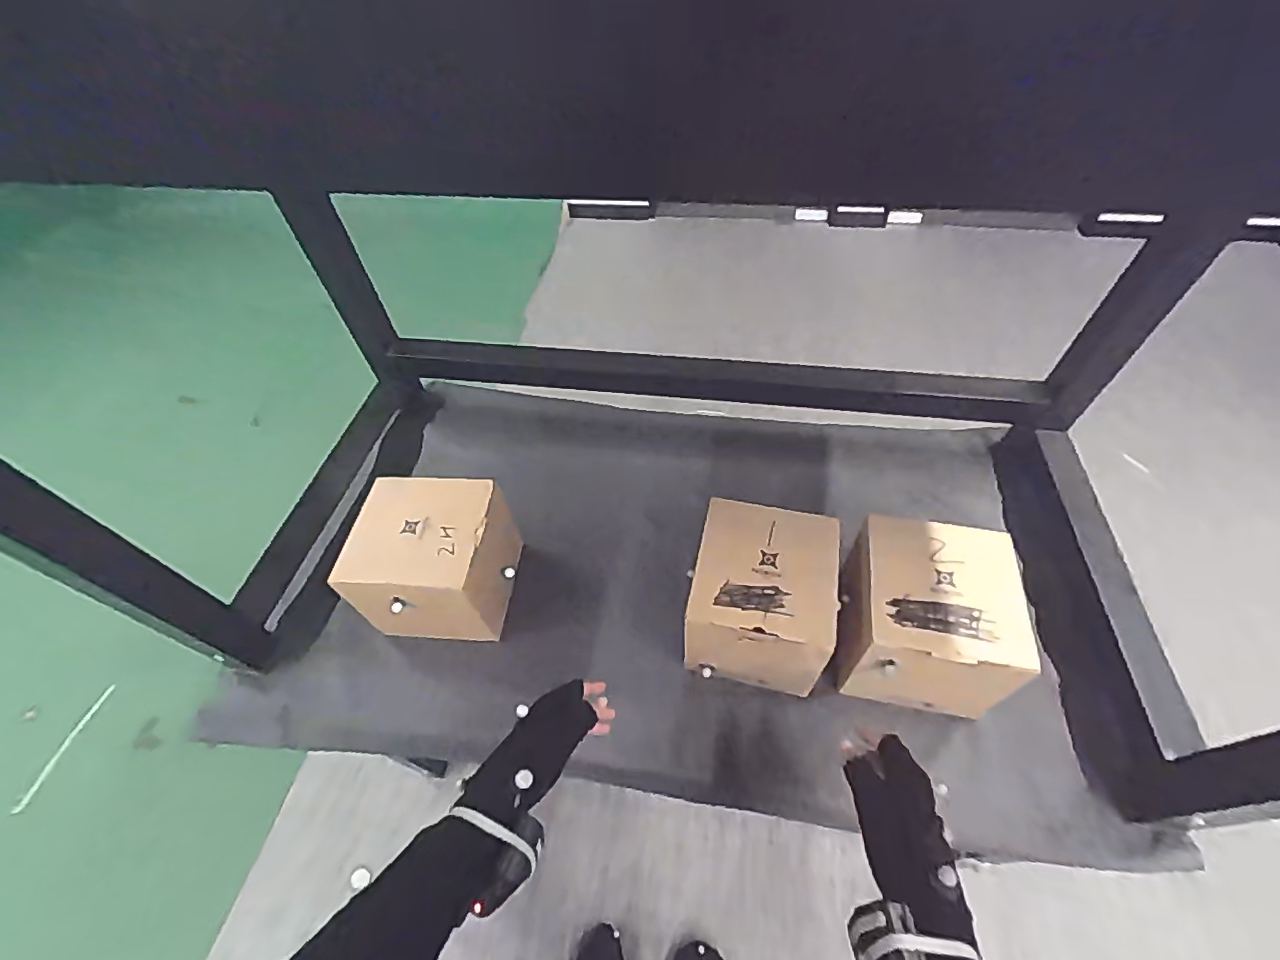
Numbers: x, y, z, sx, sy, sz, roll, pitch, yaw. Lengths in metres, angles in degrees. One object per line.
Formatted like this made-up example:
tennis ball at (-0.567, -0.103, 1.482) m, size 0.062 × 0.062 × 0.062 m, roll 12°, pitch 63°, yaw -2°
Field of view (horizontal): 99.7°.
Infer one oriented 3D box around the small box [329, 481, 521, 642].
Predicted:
small box at (-0.287, 0.119, 0.768) m, size 0.179 × 0.176 × 0.168 m, roll 2°, pitch 53°, yaw 5°
